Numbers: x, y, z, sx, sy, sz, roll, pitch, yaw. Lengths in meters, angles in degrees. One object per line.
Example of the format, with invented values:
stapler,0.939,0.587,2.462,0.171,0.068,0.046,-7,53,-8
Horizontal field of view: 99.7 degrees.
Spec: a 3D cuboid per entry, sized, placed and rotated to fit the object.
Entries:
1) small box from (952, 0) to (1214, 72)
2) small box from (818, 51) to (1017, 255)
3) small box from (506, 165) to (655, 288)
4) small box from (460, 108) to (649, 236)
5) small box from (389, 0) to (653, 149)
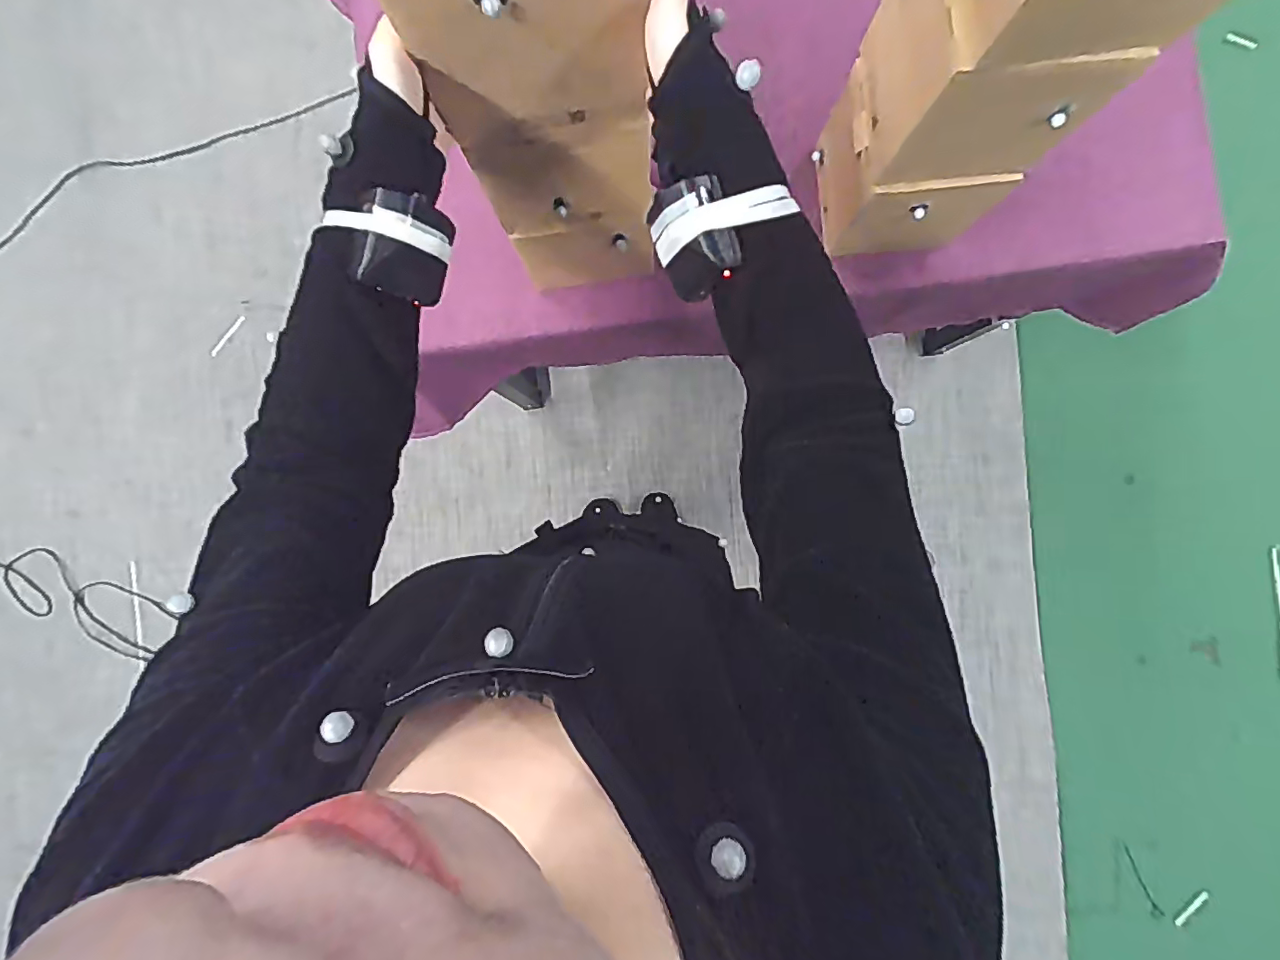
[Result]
small box,0.349,-0.433,0.378,0.179,0.176,0.168,-7,89,0
small box,0.343,-0.411,0.705,0.179,0.176,0.168,-5,89,0
small box,-0.079,-0.371,0.710,0.179,0.176,0.168,-8,89,1
small box,-0.084,-0.378,0.547,0.168,0.176,0.179,-8,90,0
small box,-0.085,-0.373,0.377,0.168,0.176,0.179,-8,92,0
